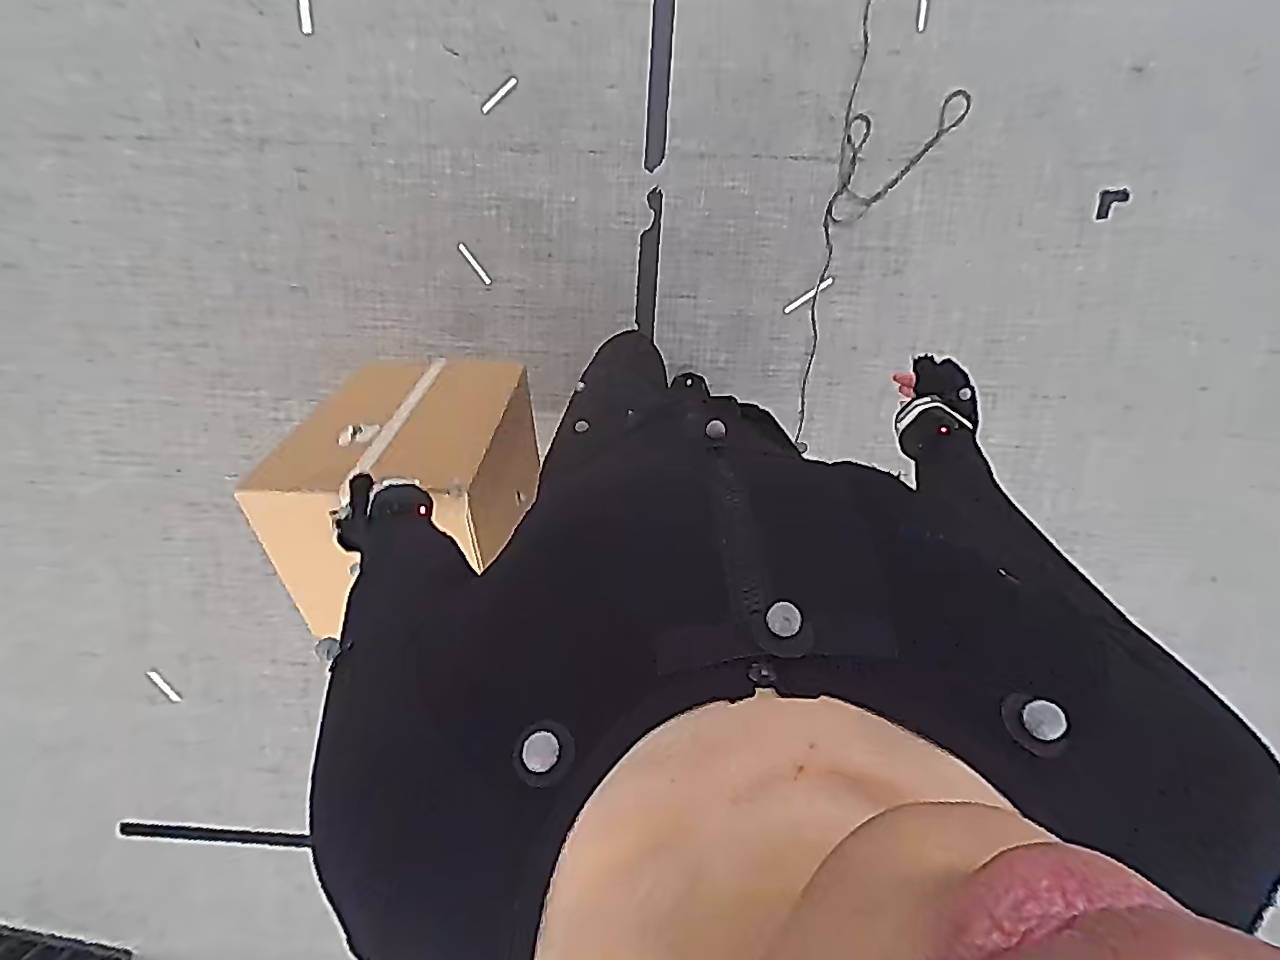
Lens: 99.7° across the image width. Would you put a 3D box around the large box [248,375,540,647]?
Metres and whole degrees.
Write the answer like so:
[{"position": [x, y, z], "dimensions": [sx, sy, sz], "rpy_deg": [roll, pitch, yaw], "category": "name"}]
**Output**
[{"position": [-0.373, 0.039, 0.967], "dimensions": [0.320, 0.408, 0.320], "rpy_deg": [-1, 126, 2], "category": "large box"}]
